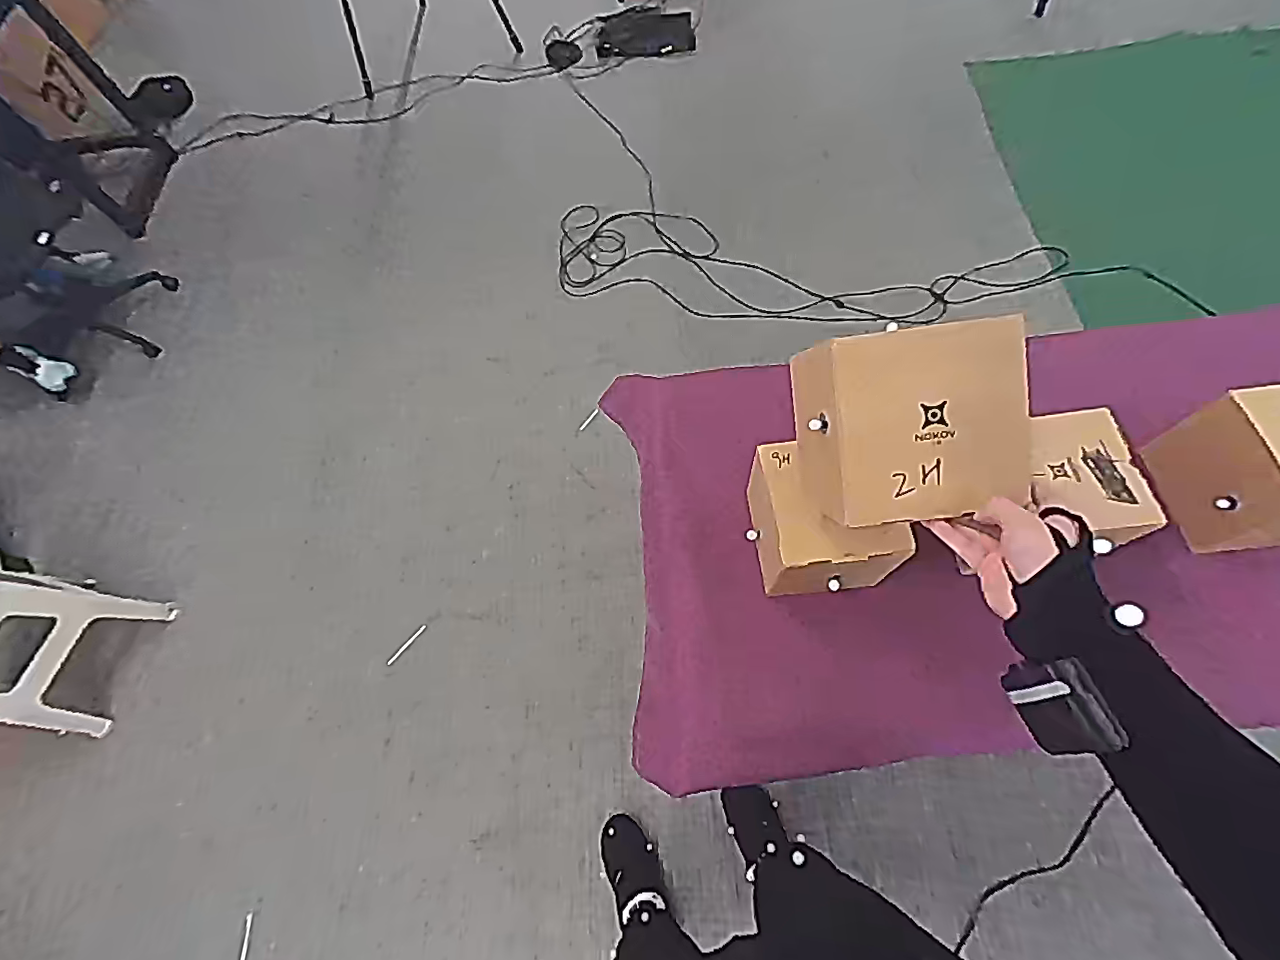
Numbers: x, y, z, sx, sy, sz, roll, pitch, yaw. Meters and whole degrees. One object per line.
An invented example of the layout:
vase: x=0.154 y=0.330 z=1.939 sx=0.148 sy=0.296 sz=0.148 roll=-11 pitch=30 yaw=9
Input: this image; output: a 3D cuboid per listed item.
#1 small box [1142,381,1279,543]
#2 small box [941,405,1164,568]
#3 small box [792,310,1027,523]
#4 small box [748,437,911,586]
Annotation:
small box: x=0.860 y=-0.019 z=0.737 sx=0.168 sy=0.176 sz=0.179 roll=-6 pitch=65 yaw=3
small box: x=0.542 y=0.017 z=0.753 sx=0.179 sy=0.176 sz=0.168 roll=-7 pitch=65 yaw=4
small box: x=0.260 y=-0.063 z=0.559 sx=0.168 sy=0.176 sz=0.179 roll=-6 pitch=97 yaw=4
small box: x=0.253 y=0.048 z=0.770 sx=0.168 sy=0.176 sz=0.179 roll=-7 pitch=66 yaw=2
